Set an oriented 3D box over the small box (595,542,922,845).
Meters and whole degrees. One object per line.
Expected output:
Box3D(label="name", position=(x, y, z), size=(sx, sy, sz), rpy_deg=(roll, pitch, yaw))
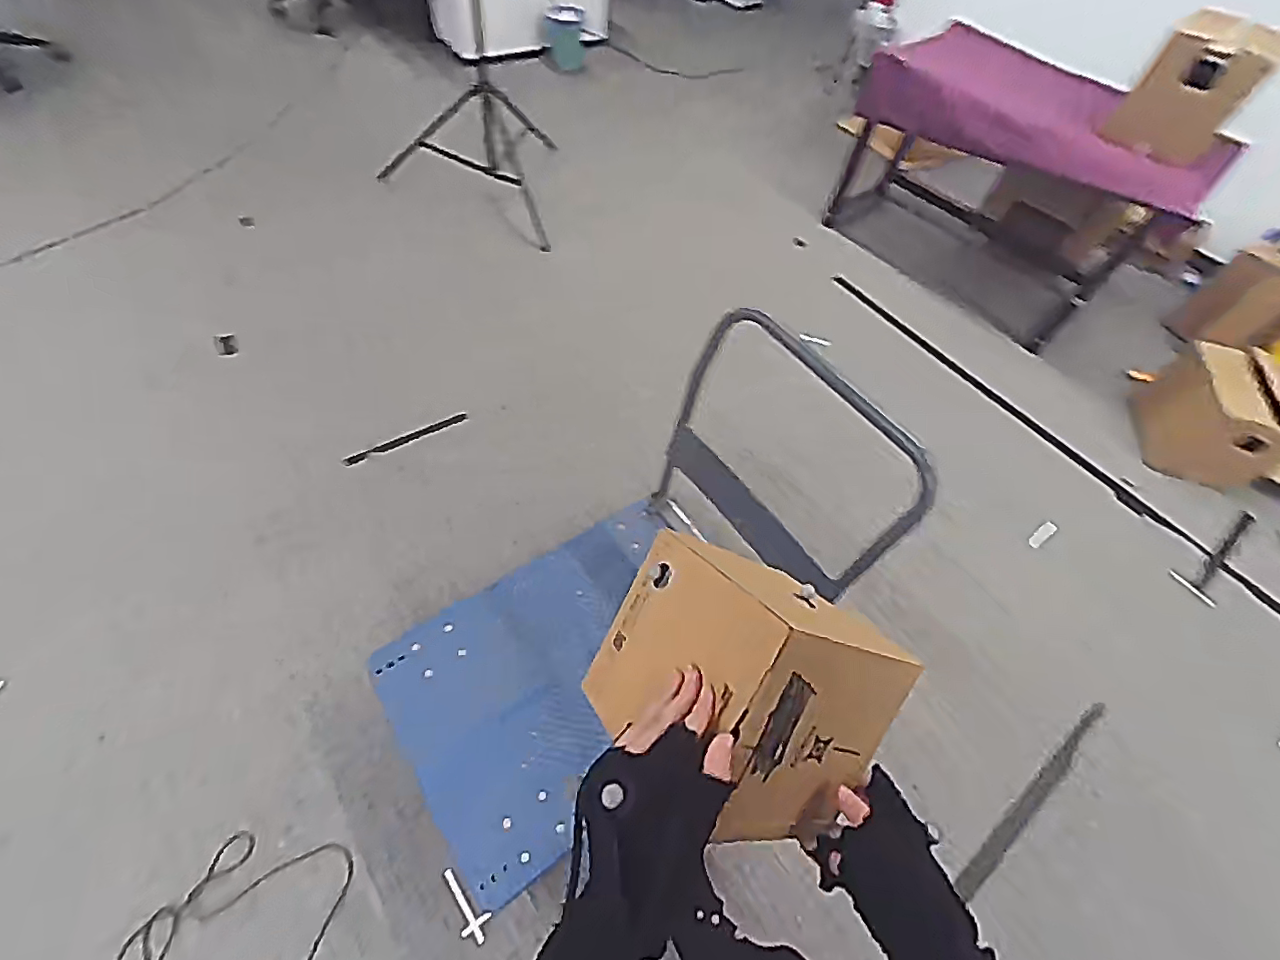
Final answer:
Box3D(label="small box", position=(0.088, 0.170, 0.461), size=(0.179, 0.168, 0.176), rpy_deg=(24, 6, -33))
